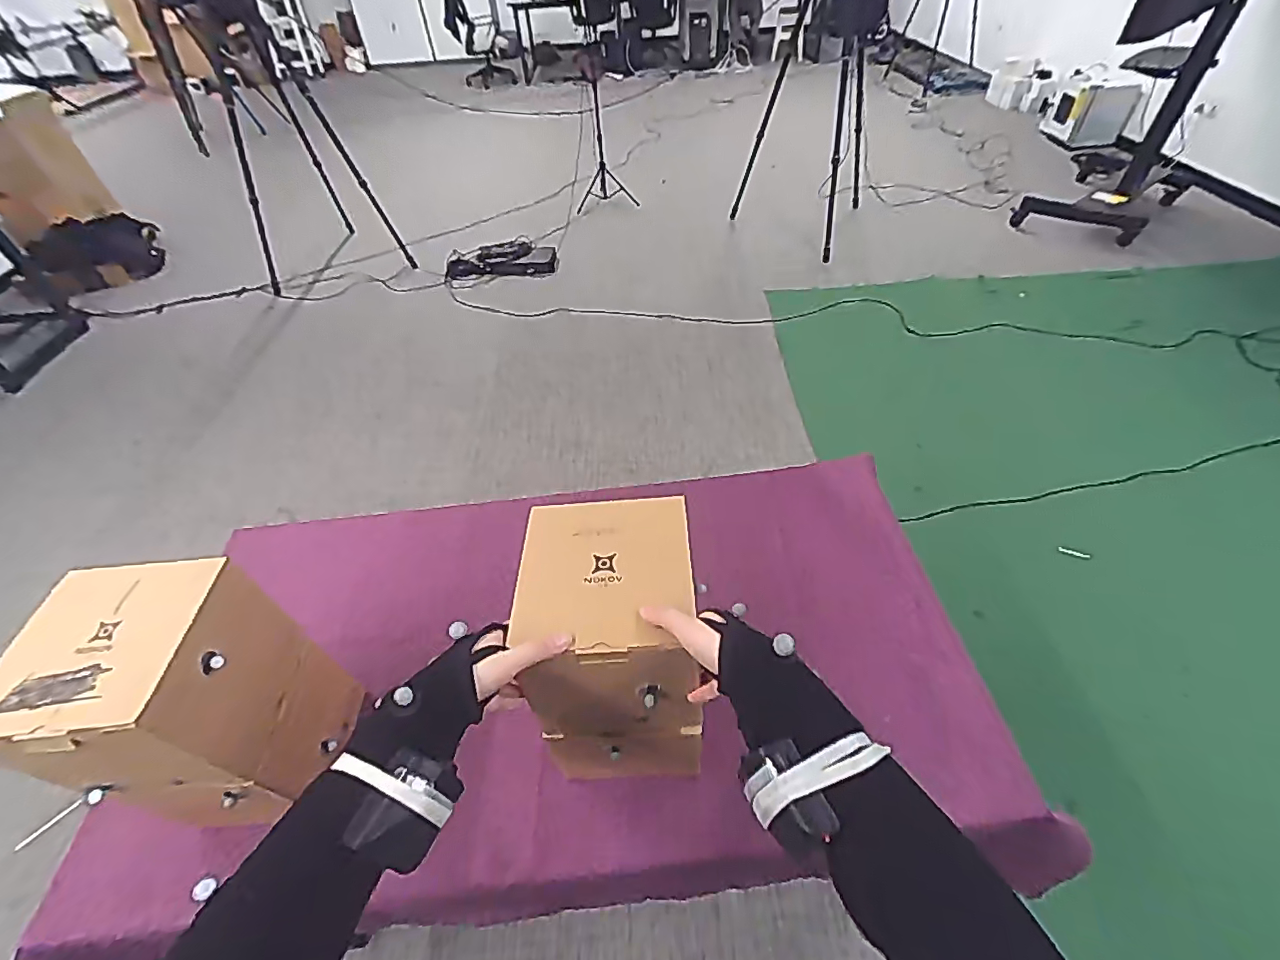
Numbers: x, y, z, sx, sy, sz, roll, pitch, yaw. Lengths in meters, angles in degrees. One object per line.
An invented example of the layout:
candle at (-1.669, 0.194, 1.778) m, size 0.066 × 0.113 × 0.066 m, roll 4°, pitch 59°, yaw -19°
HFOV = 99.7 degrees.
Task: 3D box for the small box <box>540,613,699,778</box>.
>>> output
small box at (-0.016, 0.272, 0.696) m, size 0.179 × 0.176 × 0.168 m, roll -3°, pitch 47°, yaw 3°

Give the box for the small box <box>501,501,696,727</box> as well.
small box at (-0.030, 0.146, 0.569) m, size 0.168 × 0.176 × 0.179 m, roll -4°, pitch 43°, yaw 4°

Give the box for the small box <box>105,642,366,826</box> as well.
small box at (-0.491, 0.328, 0.693) m, size 0.179 × 0.176 × 0.168 m, roll -5°, pitch 47°, yaw 0°

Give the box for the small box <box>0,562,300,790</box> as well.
small box at (-0.504, 0.213, 0.576) m, size 0.168 × 0.176 × 0.179 m, roll -5°, pitch 45°, yaw -1°
